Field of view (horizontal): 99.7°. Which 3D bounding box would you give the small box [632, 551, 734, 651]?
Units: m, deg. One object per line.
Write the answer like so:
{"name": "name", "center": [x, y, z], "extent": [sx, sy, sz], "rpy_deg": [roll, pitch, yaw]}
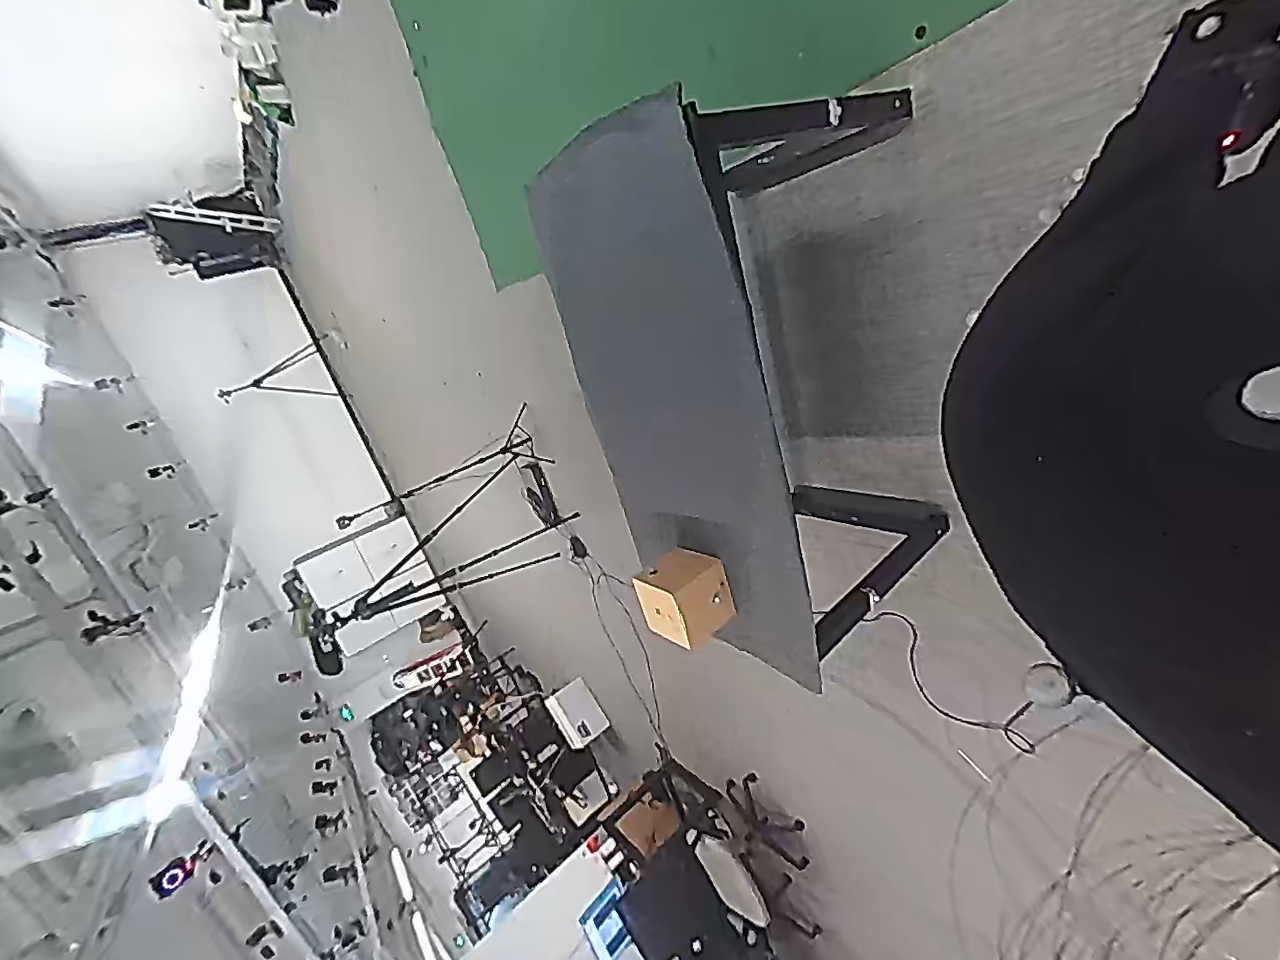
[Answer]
{"name": "small box", "center": [0.111, 0.300, 1.389], "extent": [0.179, 0.176, 0.168], "rpy_deg": [8, 121, 54]}
